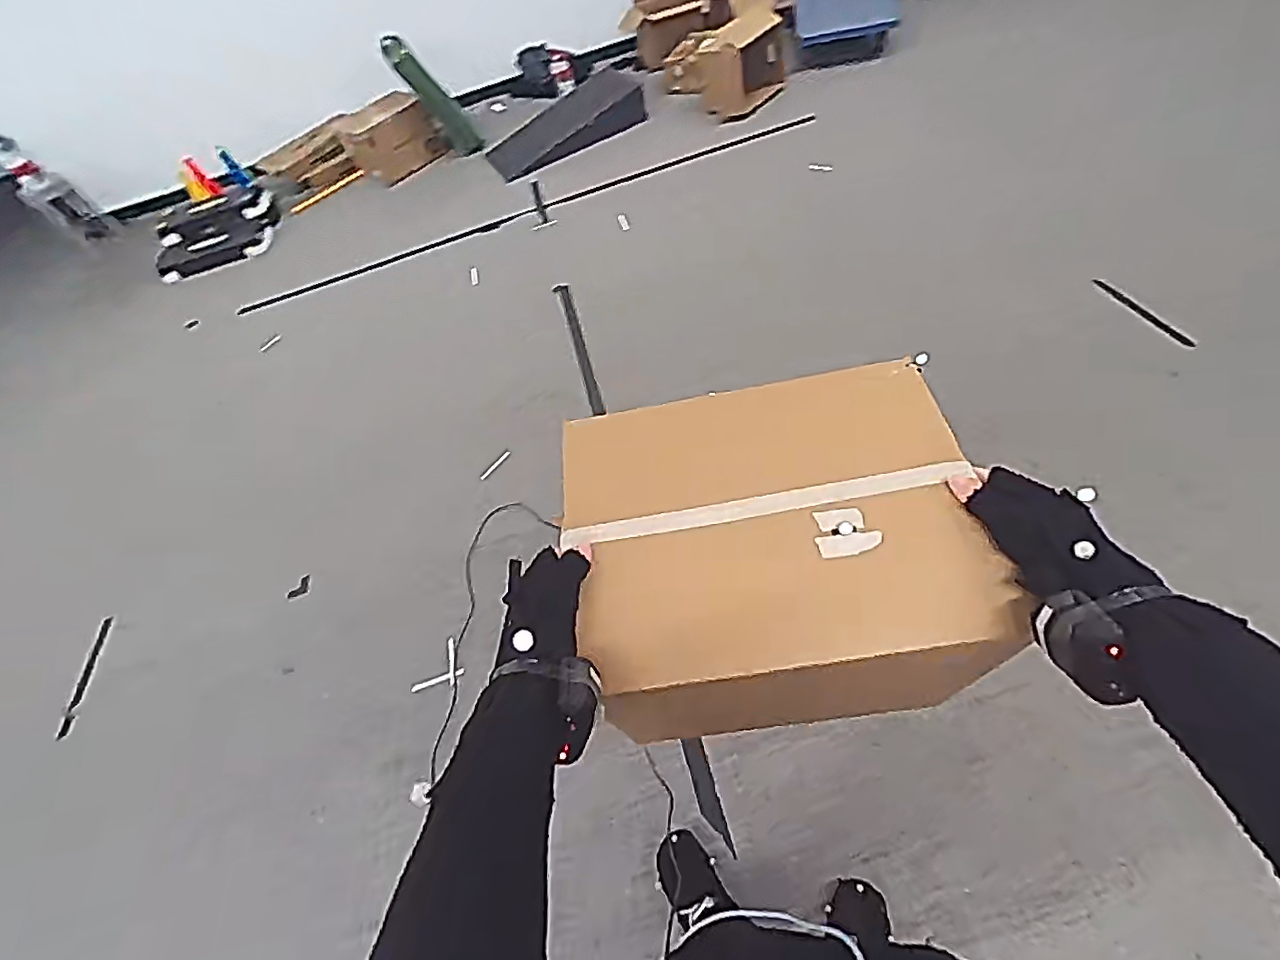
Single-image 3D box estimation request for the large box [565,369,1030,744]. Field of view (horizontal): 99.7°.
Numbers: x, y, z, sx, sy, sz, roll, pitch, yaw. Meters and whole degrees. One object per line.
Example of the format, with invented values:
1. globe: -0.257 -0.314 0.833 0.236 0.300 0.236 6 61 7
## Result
1. large box: 0.144 0.113 0.676 0.408 0.320 0.320 -10 56 4
